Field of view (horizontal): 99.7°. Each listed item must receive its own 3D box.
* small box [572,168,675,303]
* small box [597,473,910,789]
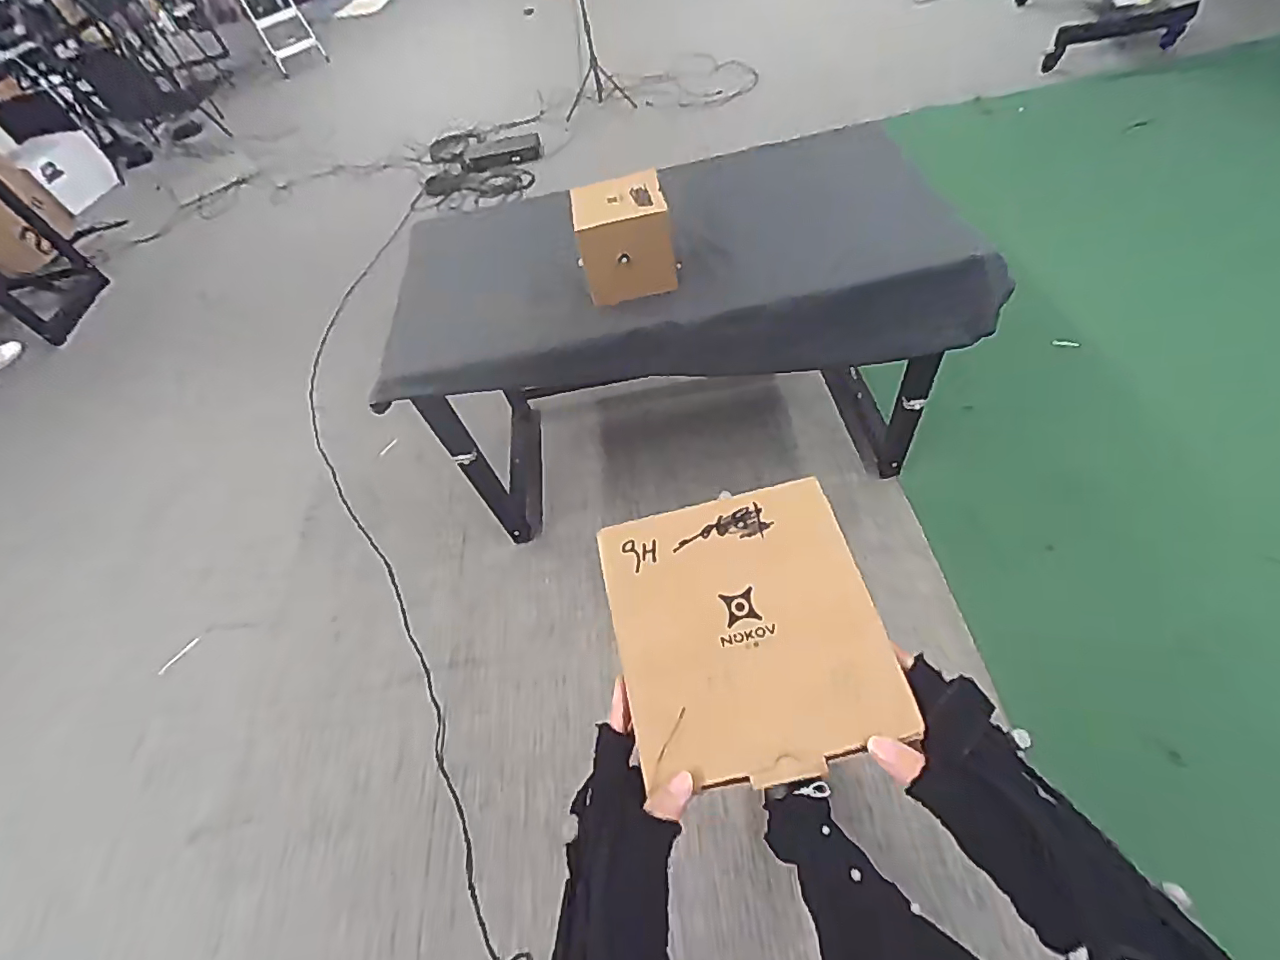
[{"bbox_3d":[-0.029,-0.482,1.078,0.179,0.176,0.168,-11,53,4],"label":"small box"},{"bbox_3d":[0.073,0.122,0.423,0.168,0.176,0.179,-13,63,0],"label":"small box"}]
